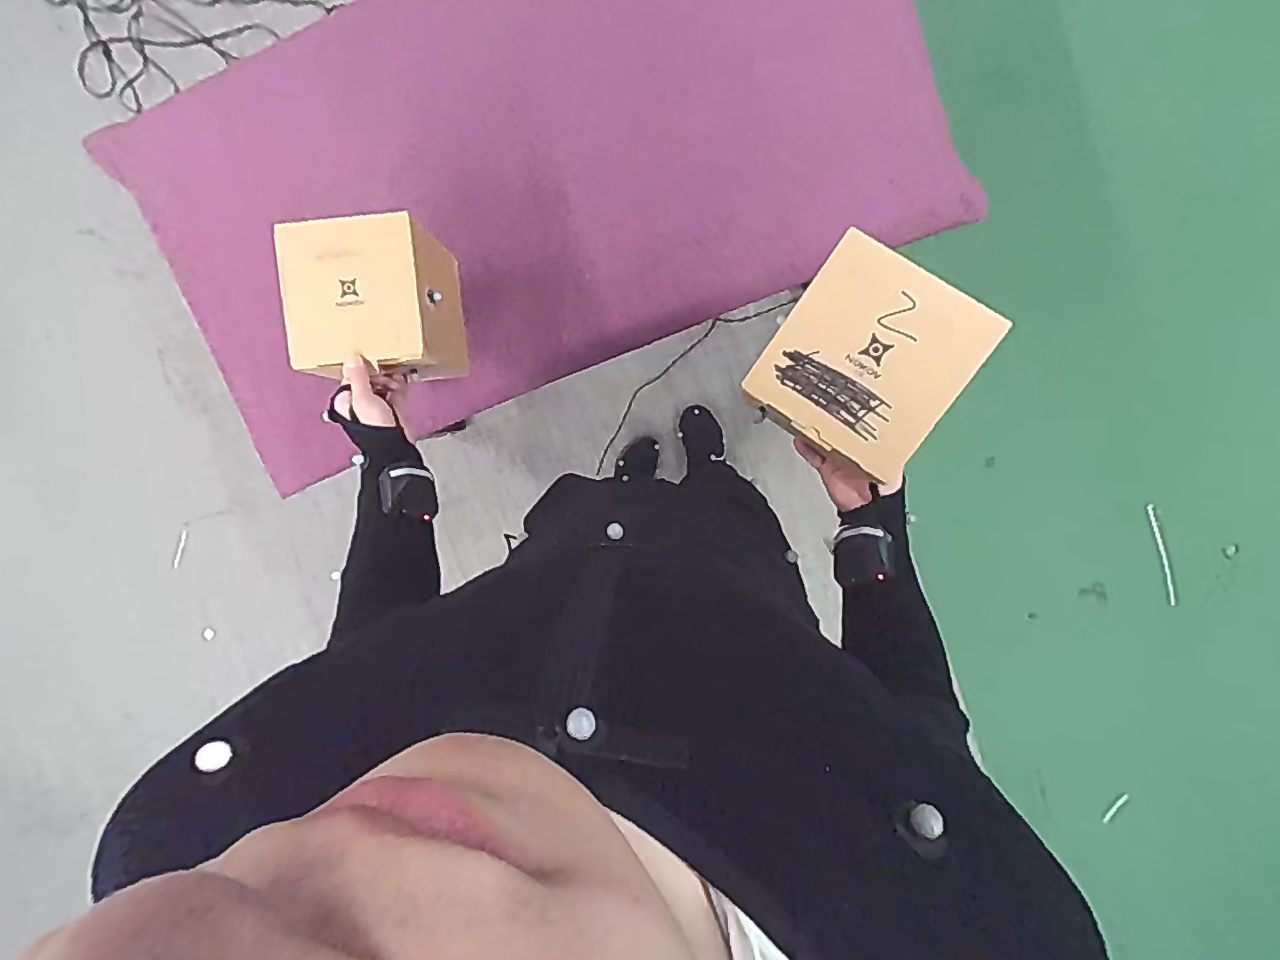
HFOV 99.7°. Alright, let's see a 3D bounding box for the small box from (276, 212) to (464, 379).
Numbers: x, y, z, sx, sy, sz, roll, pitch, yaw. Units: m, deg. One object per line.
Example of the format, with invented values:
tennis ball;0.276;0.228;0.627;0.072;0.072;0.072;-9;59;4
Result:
small box;-0.348;-0.234;0.730;0.168;0.176;0.179;-4;93;0
